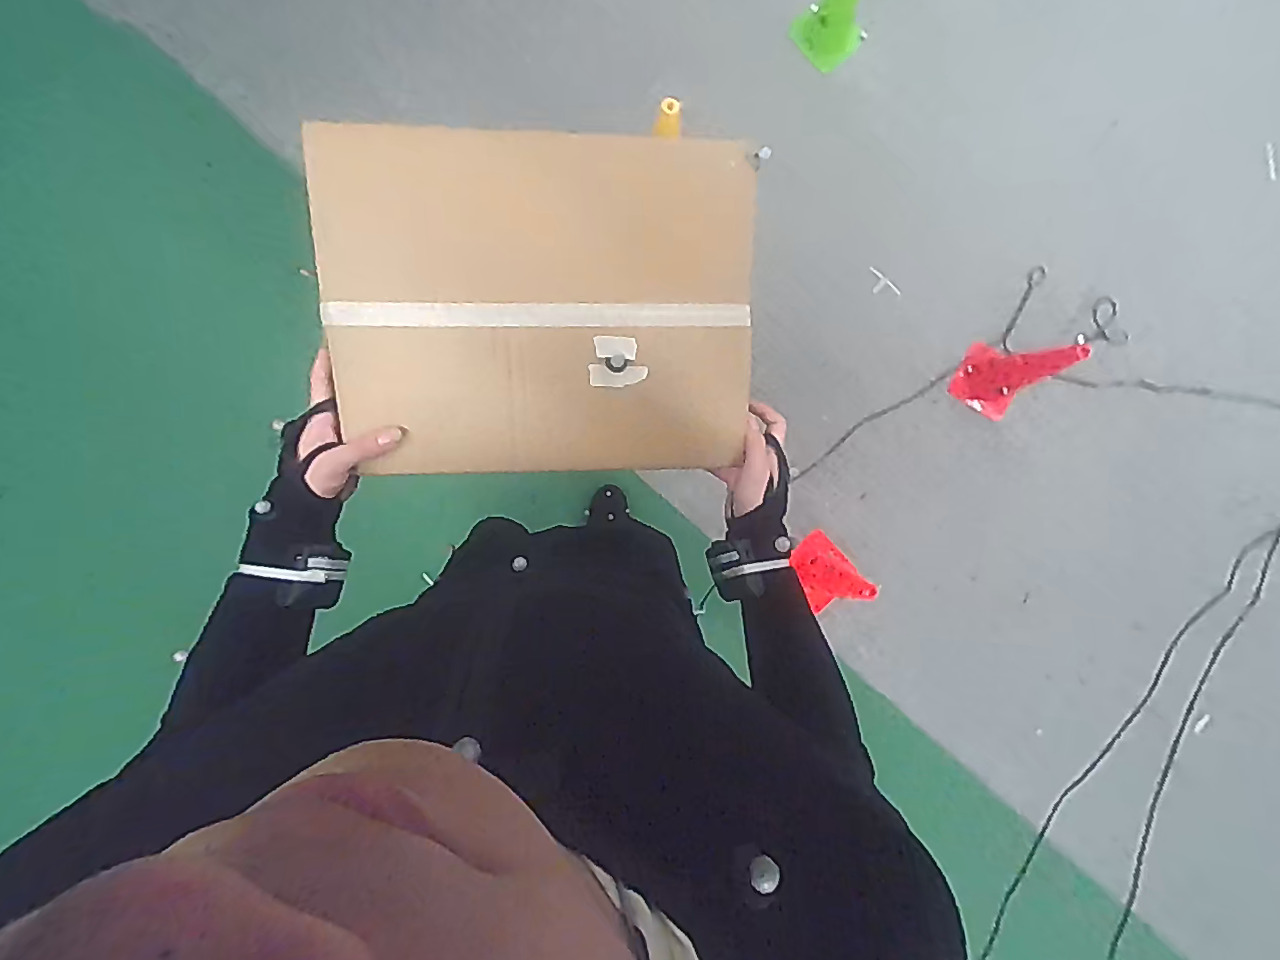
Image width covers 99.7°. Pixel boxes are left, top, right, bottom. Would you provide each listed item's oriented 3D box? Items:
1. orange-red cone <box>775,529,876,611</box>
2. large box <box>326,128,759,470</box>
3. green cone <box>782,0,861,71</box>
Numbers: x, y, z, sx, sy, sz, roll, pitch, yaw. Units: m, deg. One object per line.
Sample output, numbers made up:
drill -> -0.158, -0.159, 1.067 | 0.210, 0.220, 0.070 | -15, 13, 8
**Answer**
orange-red cone -> 0.553, 0.277, 1.503 | 0.198, 0.360, 0.199 | -41, 92, -3
large box -> -0.101, -0.198, 0.675 | 0.408, 0.320, 0.320 | -1, 104, -7
green cone -> 0.591, -1.445, 1.563 | 0.202, 0.368, 0.200 | -43, 91, -2
